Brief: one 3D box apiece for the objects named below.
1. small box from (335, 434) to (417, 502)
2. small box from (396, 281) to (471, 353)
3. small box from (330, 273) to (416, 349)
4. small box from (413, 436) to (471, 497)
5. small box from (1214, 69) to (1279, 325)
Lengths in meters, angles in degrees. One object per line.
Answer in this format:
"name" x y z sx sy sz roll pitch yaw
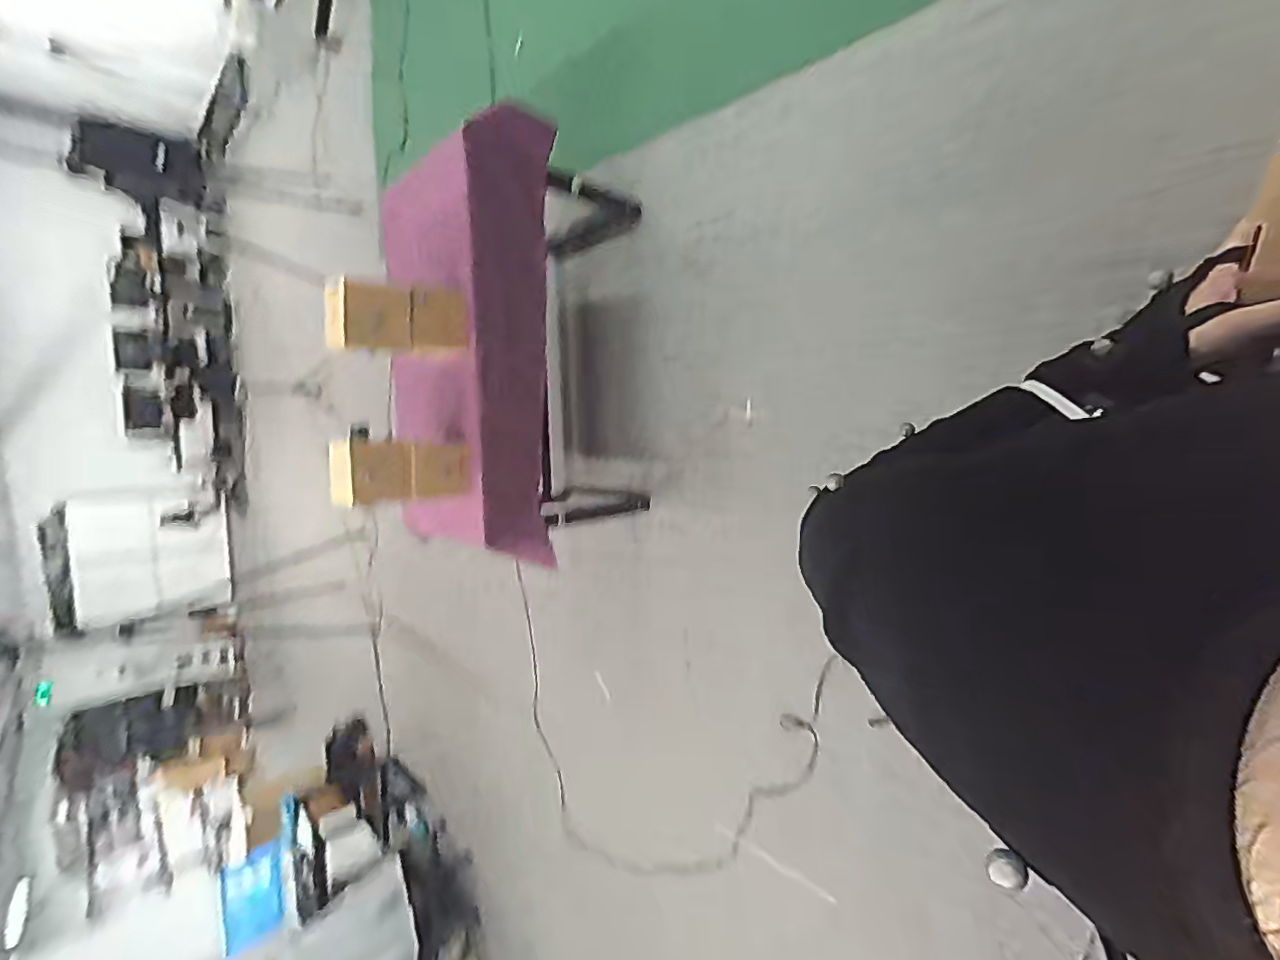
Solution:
"small box" -0.744 -0.039 1.532 0.168 0.176 0.179 6 98 44
"small box" -0.607 -0.468 1.583 0.168 0.176 0.179 6 98 45
"small box" -0.721 -0.449 1.465 0.168 0.176 0.179 12 103 44
"small box" -0.628 -0.046 1.647 0.179 0.176 0.168 8 99 45
"small box" 0.500 -0.190 0.321 0.179 0.176 0.168 19 127 48
